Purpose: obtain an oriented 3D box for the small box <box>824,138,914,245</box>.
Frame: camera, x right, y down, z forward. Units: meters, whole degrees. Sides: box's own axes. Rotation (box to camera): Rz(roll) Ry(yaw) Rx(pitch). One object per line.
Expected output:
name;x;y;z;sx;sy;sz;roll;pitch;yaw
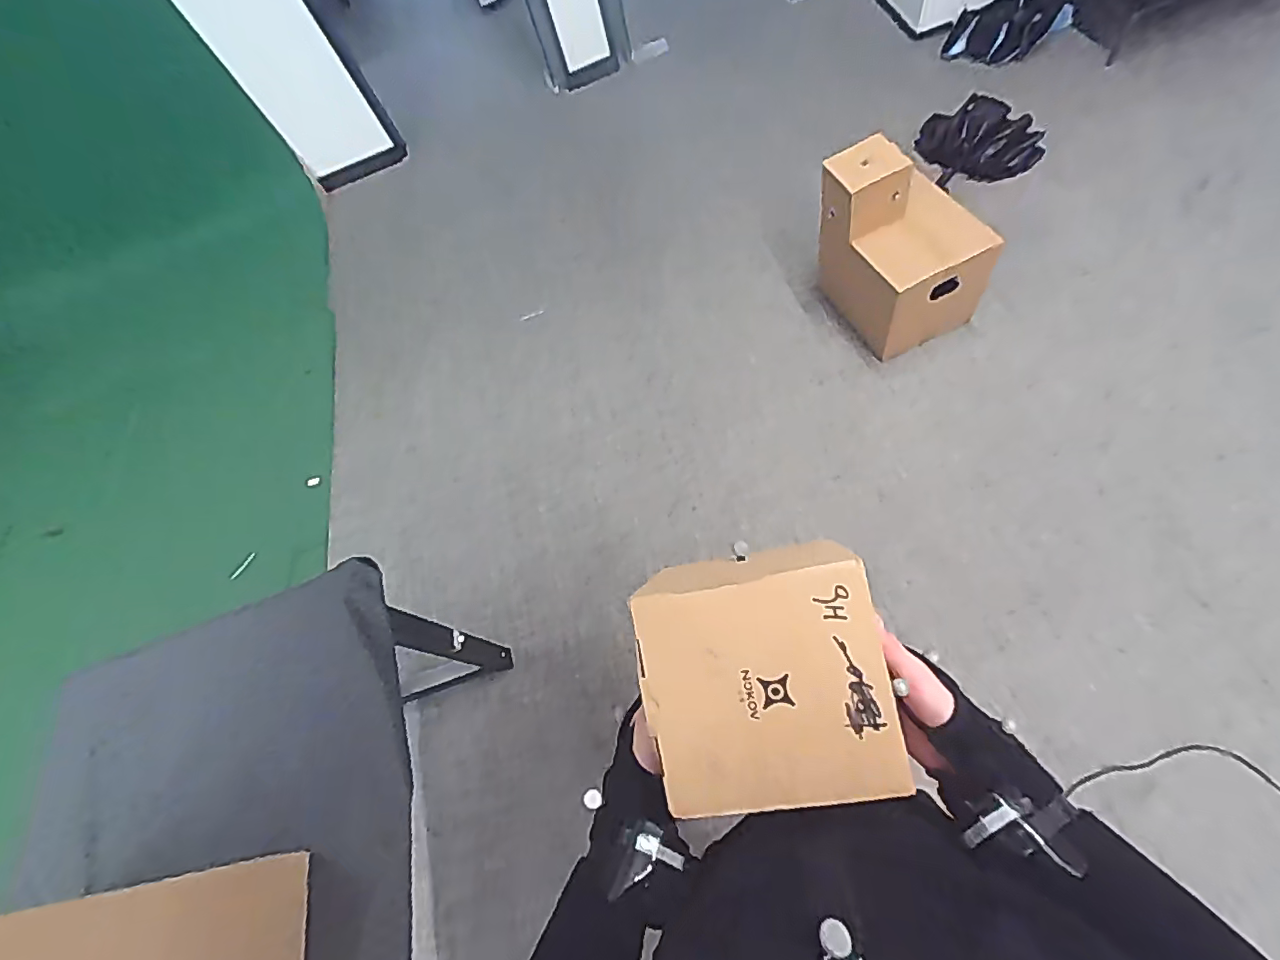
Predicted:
small box;0.638;-0.811;1.530;0.179;0.176;0.168;-26;60;6
